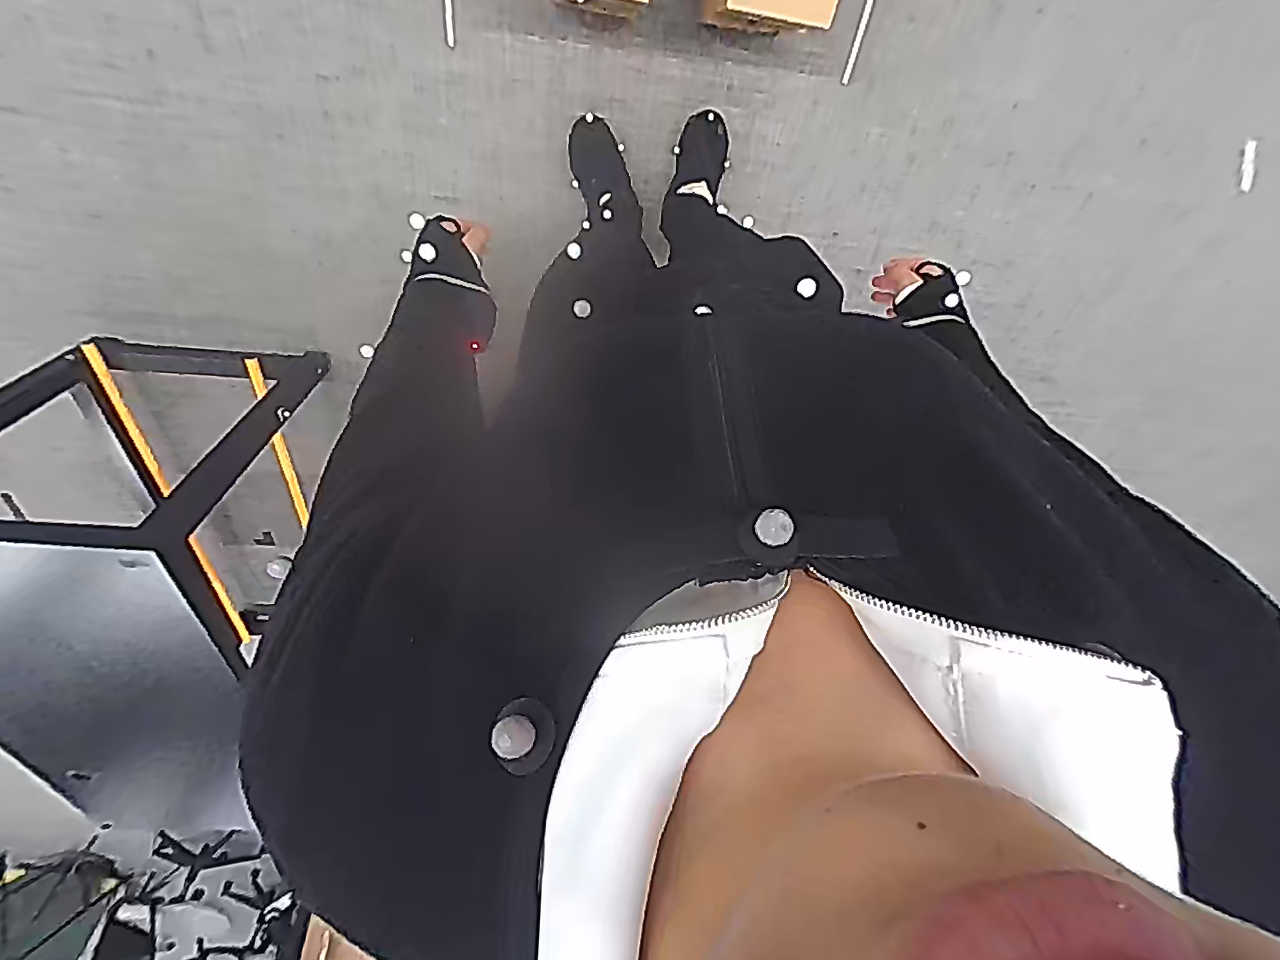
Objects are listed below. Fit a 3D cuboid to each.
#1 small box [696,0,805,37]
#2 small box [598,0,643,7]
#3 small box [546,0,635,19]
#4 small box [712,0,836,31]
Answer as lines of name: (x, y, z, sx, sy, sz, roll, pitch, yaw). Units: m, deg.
small box: (0.207, -0.896, 0.944, 0.179, 0.176, 0.168, 3, 129, -7)
small box: (-0.067, -0.810, 0.781, 0.179, 0.176, 0.168, 5, 128, -9)
small box: (-0.078, -0.909, 0.914, 0.168, 0.176, 0.179, 6, 129, -8)
small box: (0.212, -0.802, 0.811, 0.168, 0.176, 0.179, 5, 130, -7)
